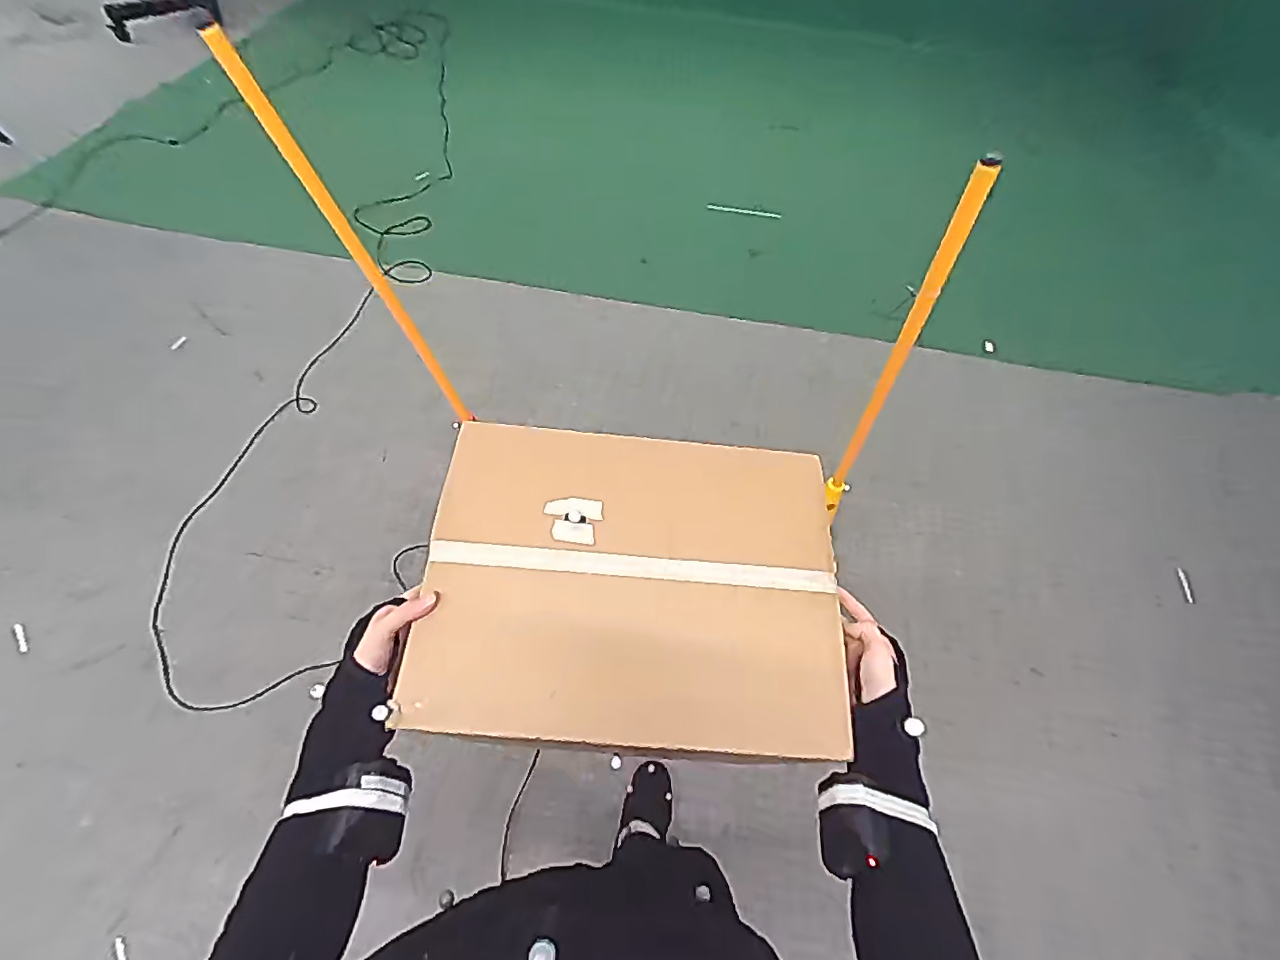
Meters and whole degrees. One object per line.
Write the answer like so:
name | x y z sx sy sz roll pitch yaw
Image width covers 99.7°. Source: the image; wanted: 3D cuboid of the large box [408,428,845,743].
large box | -0.010 0.155 0.685 0.408 0.320 0.320 5 62 -2
